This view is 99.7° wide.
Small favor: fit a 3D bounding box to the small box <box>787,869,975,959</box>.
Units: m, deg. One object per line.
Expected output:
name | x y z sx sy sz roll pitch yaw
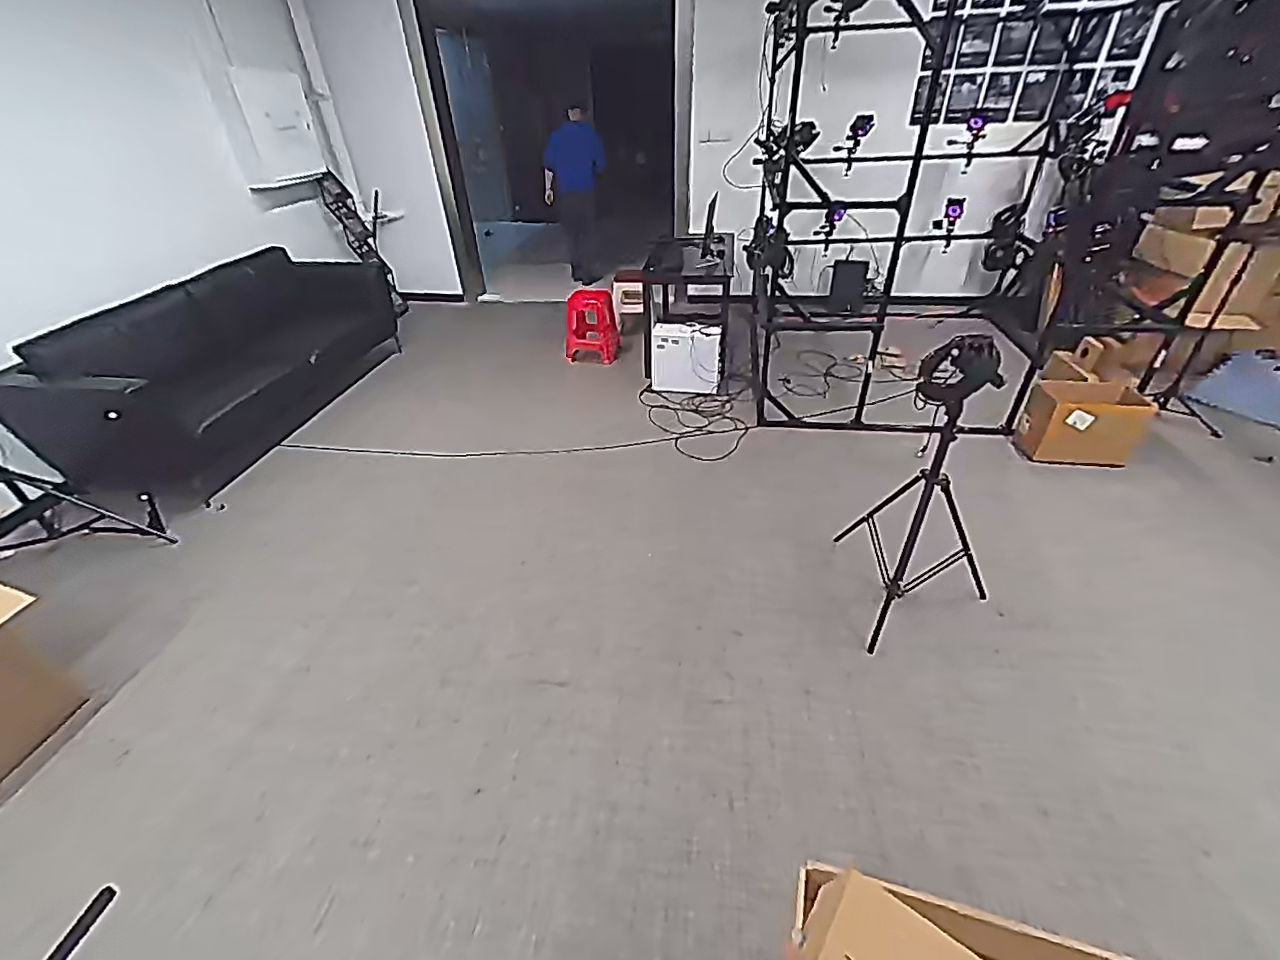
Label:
small box | 0.264 0.581 0.599 0.179 0.176 0.168 27 53 26
